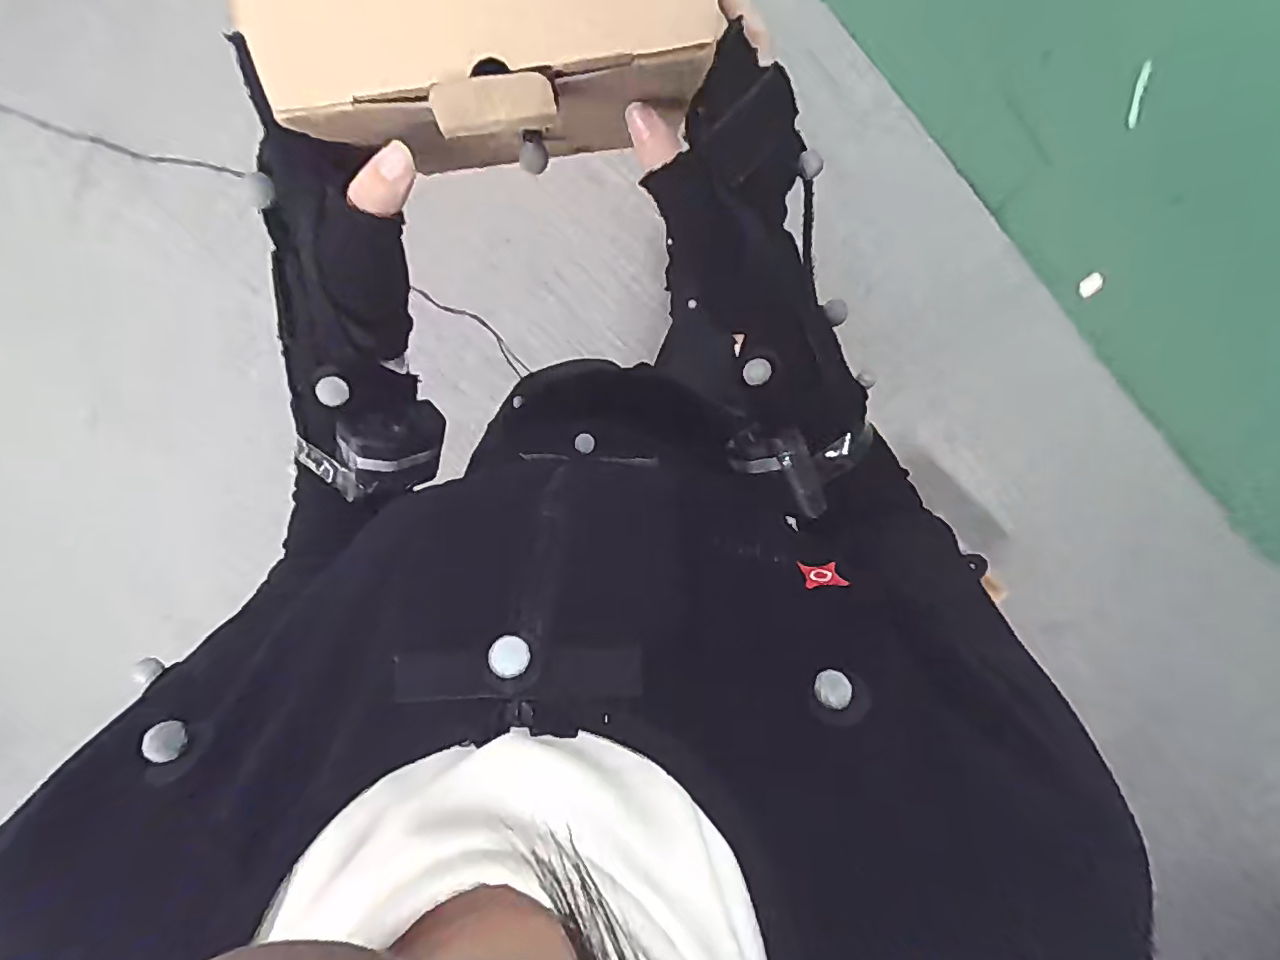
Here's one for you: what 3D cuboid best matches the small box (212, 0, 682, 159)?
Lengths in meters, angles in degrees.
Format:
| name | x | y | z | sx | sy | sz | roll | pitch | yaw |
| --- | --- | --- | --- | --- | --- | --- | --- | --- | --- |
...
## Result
| name | x | y | z | sx | sy | sz | roll | pitch | yaw |
| --- | --- | --- | --- | --- | --- | --- | --- | --- | --- |
| small box | -0.074 | -0.255 | 0.237 | 0.168 | 0.176 | 0.179 | -7 | 113 | 2 |
